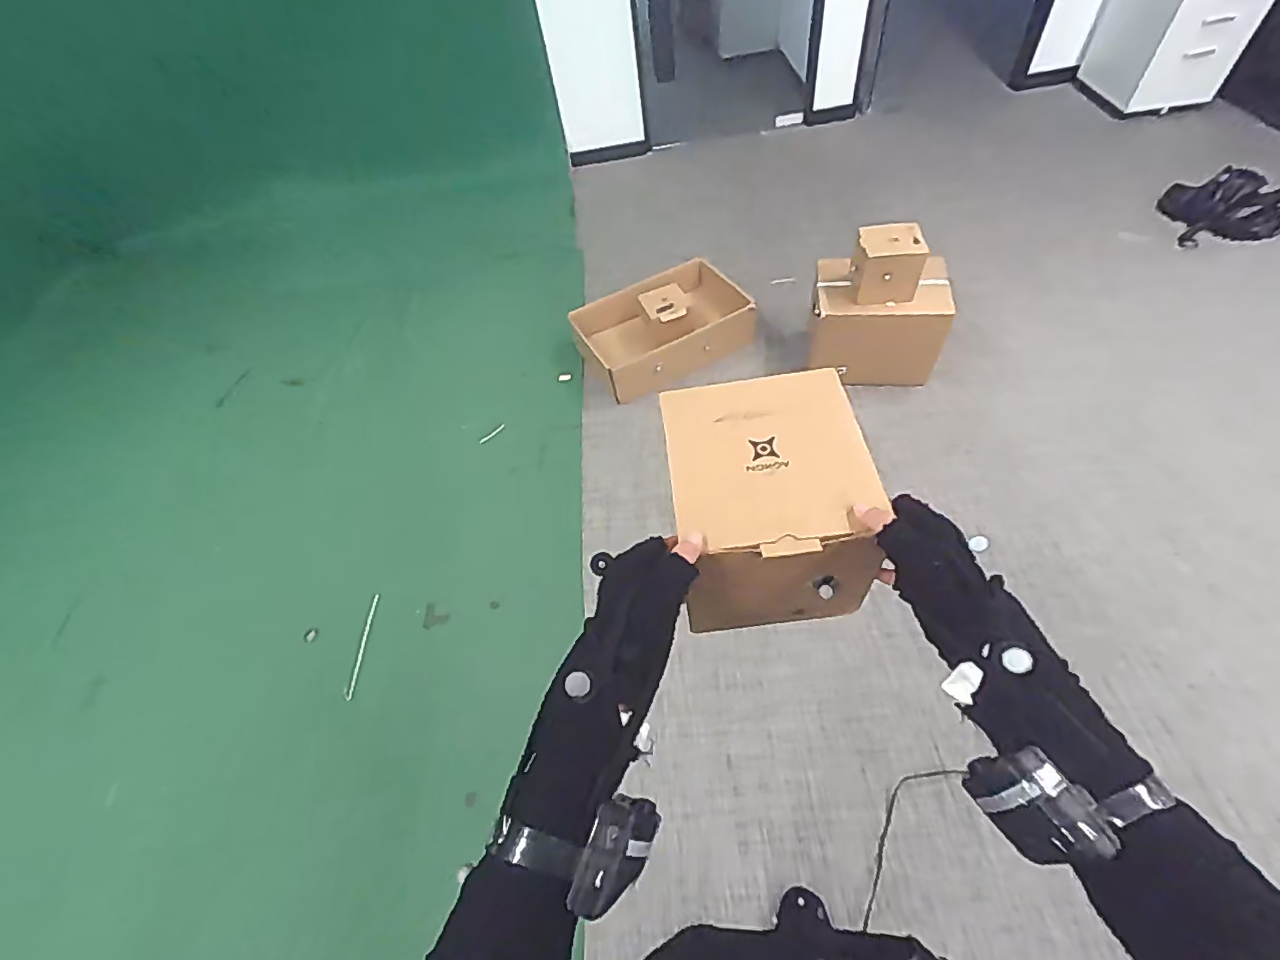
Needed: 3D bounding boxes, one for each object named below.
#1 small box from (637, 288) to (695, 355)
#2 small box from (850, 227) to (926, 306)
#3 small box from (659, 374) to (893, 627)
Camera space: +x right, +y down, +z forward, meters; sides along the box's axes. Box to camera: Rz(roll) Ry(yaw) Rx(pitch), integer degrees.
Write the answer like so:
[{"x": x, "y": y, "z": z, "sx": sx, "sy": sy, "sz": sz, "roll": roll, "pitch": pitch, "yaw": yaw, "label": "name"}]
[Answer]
[{"x": 0.104, "y": -0.606, "z": 2.092, "sx": 0.168, "sy": 0.176, "sz": 0.179, "roll": -21, "pitch": 52, "yaw": -5, "label": "small box"}, {"x": 0.766, "y": -0.665, "z": 1.697, "sx": 0.179, "sy": 0.176, "sz": 0.168, "roll": -2, "pitch": 54, "yaw": 8, "label": "small box"}, {"x": 0.114, "y": 0.029, "z": 0.518, "sx": 0.168, "sy": 0.176, "sz": 0.179, "roll": -8, "pitch": 52, "yaw": 3, "label": "small box"}]
